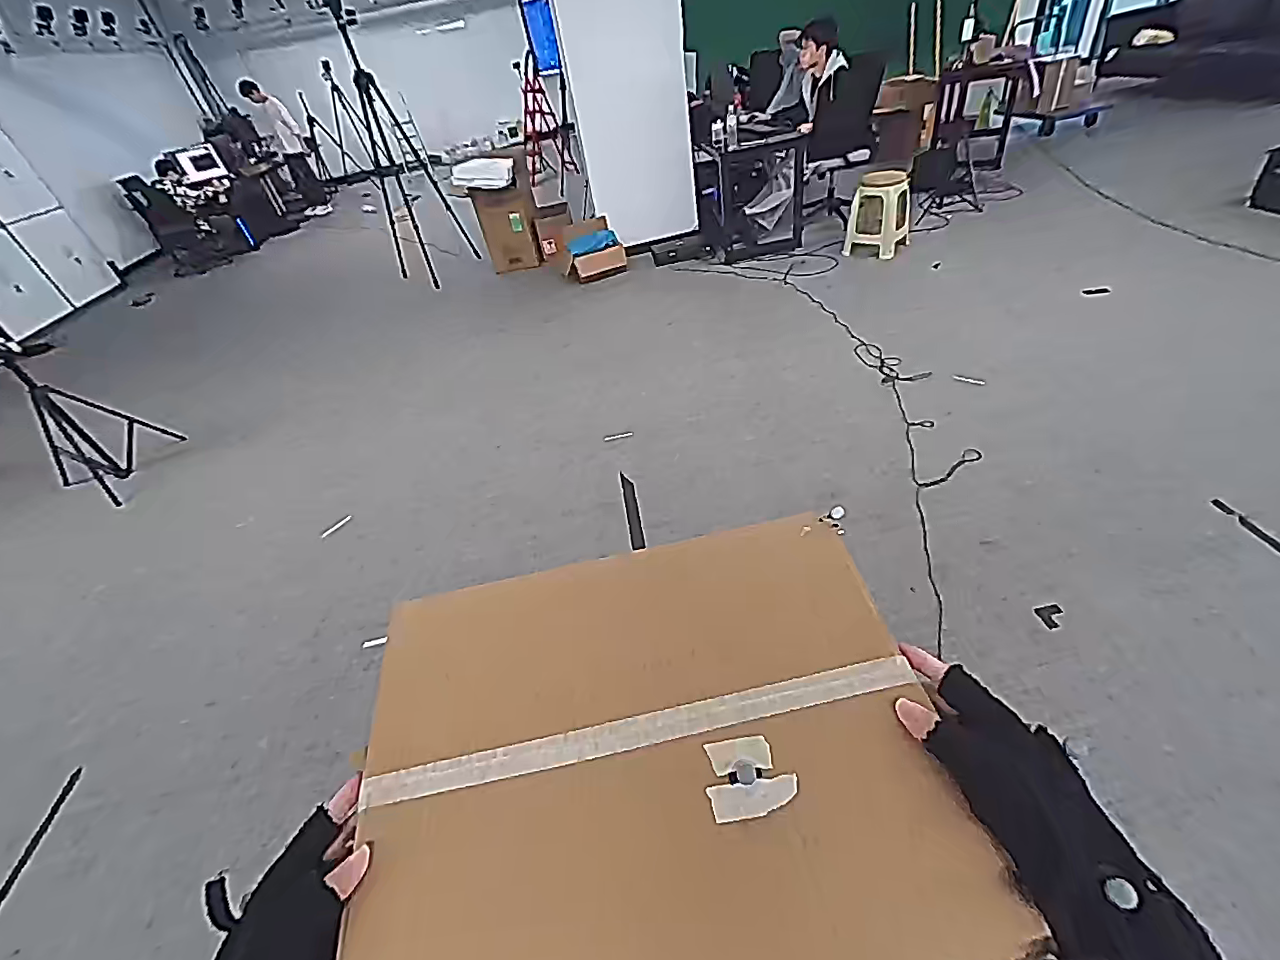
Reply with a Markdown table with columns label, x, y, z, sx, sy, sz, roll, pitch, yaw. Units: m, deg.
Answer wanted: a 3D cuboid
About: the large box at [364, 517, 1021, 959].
| label | x | y | z | sx | sy | sz | roll | pitch | yaw |
| --- | --- | --- | --- | --- | --- | --- | --- | --- | --- |
| large box | 0.023 | 0.285 | 0.516 | 0.408 | 0.320 | 0.320 | -12 | 48 | -1 |
